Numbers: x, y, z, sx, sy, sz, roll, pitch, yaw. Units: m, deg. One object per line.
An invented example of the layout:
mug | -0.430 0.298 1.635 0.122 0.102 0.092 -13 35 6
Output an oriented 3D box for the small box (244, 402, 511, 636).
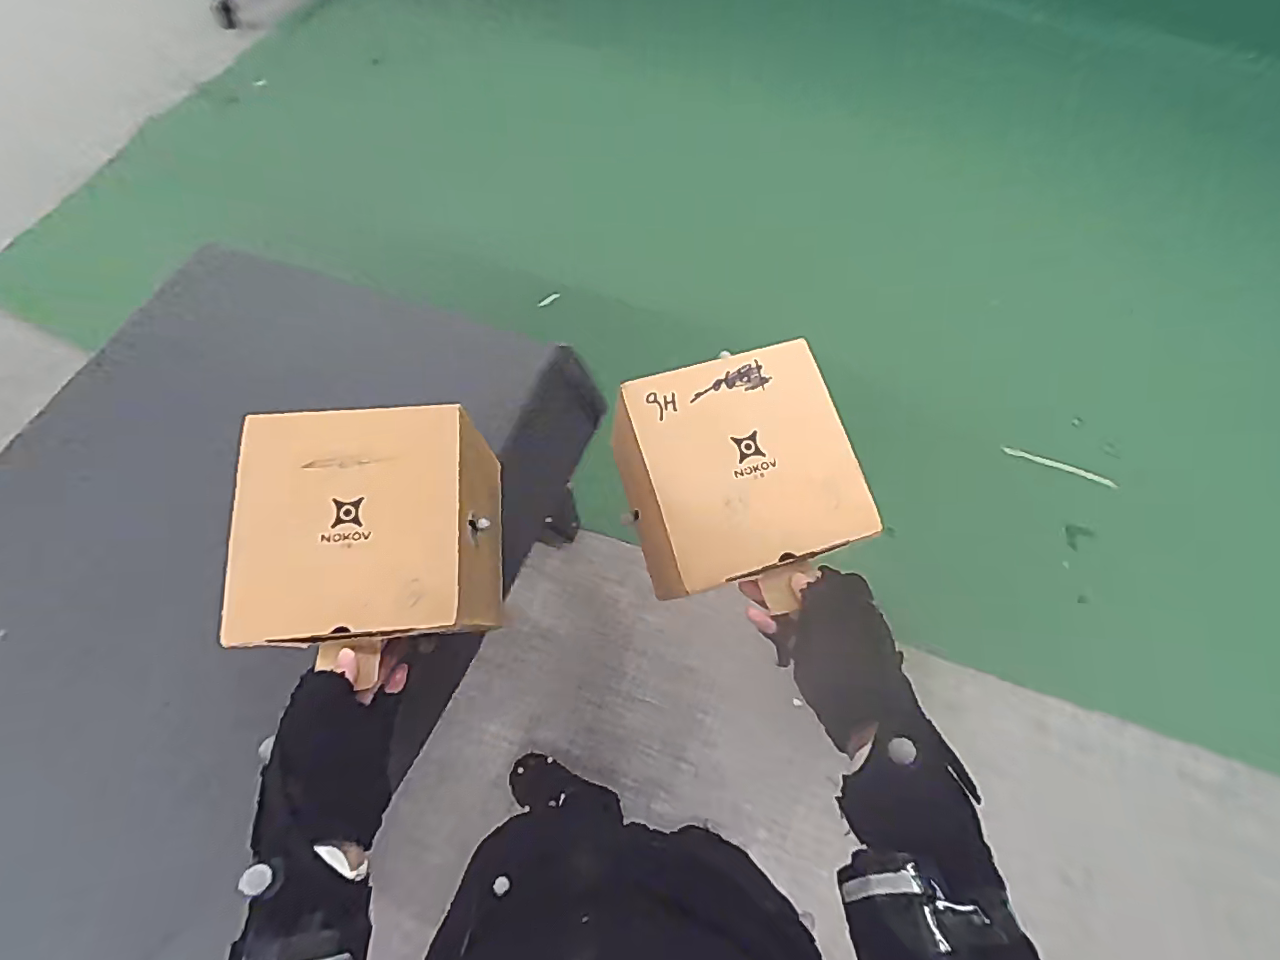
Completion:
small box | -0.212 0.044 0.489 0.168 0.176 0.179 -3 74 -5
